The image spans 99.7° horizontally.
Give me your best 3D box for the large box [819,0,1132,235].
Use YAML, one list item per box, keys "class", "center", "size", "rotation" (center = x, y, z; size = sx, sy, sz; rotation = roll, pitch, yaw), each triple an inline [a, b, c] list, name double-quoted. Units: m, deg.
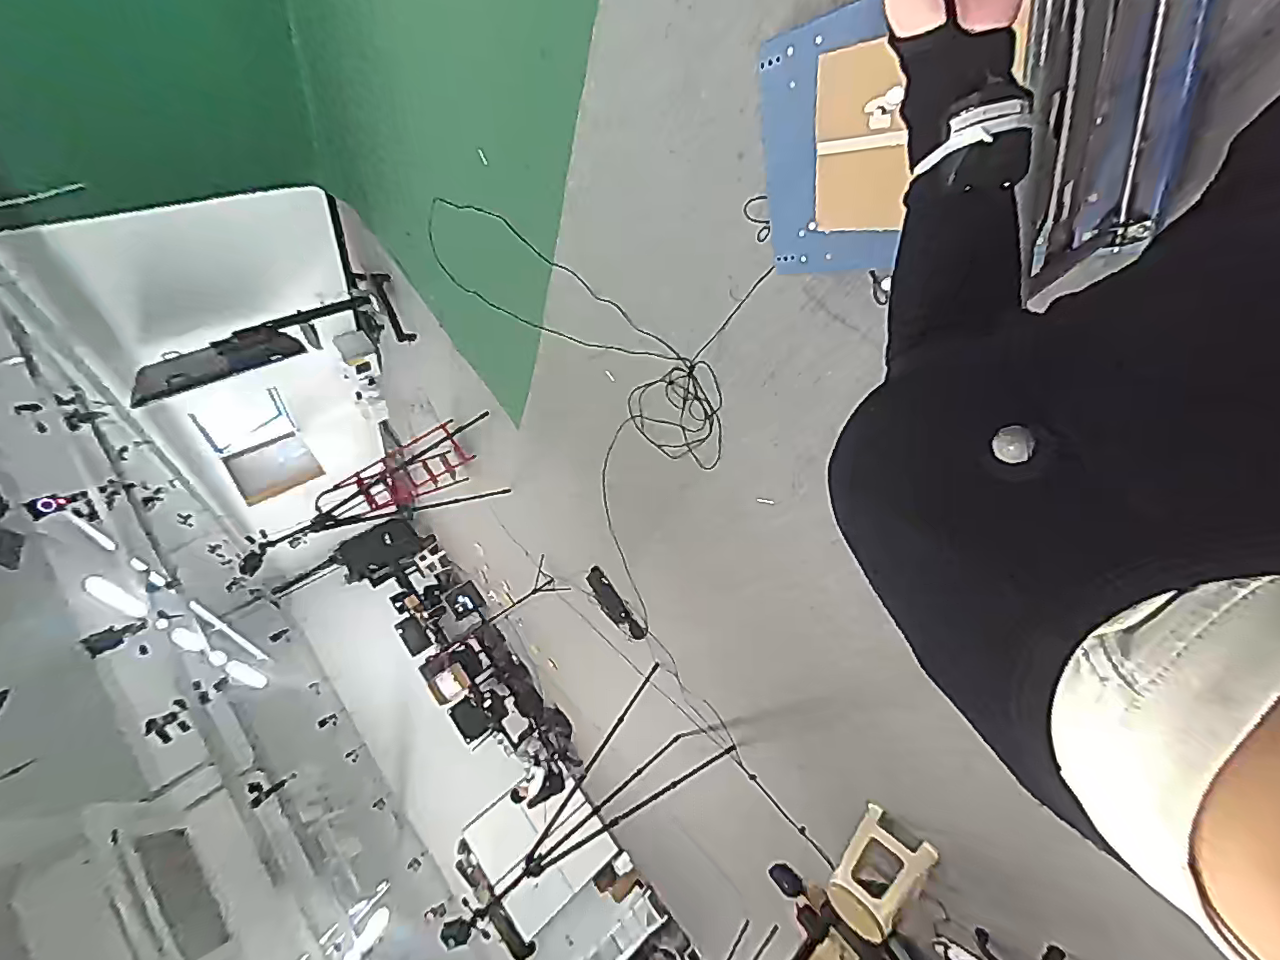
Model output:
- class: "large box"
  center: [0.607, -0.670, 1.032]
  size: [0.408, 0.320, 0.320]
  rotation: [25, 135, 44]
